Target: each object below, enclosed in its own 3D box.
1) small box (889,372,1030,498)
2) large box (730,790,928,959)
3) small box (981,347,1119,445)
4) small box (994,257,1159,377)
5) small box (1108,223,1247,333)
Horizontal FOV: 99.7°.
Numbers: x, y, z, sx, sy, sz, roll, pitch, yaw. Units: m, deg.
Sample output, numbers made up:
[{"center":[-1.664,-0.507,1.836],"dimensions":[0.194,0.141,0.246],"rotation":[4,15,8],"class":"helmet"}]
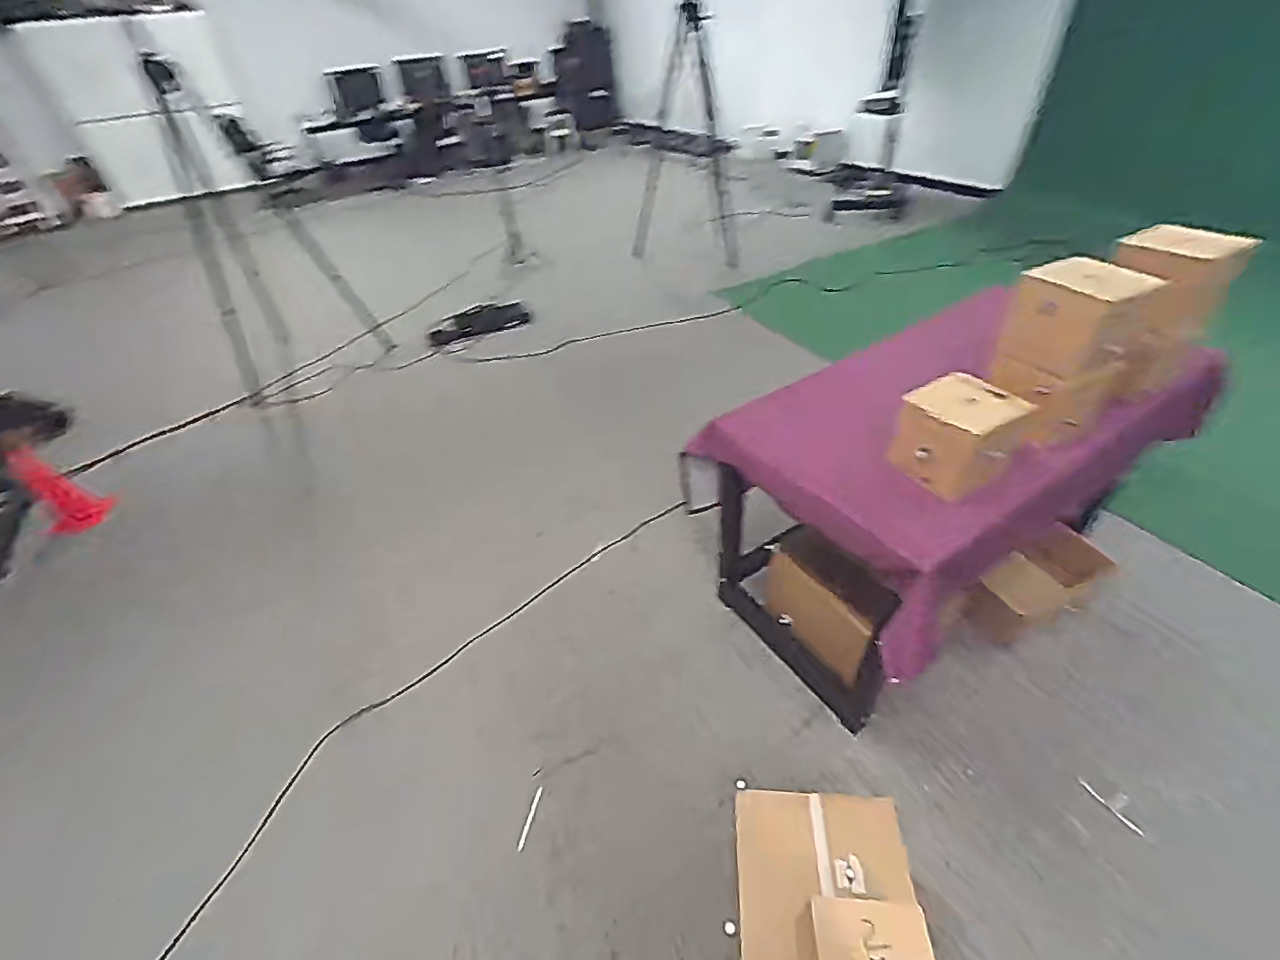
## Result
[{"center":[0.639,-0.091,1.109],"dimensions":[0.179,0.176,0.168],"rotation":[-24,45,-19],"class":"small box"},{"center":[0.341,0.880,1.043],"dimensions":[0.320,0.320,0.408],"rotation":[0,41,6],"class":"large box"},{"center":[0.893,-0.207,1.213],"dimensions":[0.168,0.176,0.179],"rotation":[-21,44,-16],"class":"small box"},{"center":[0.878,-0.335,1.110],"dimensions":[0.168,0.176,0.179],"rotation":[-20,43,-15],"class":"small box"},{"center":[1.163,-0.452,1.208],"dimensions":[0.179,0.176,0.168],"rotation":[-23,43,-18],"class":"small box"}]
